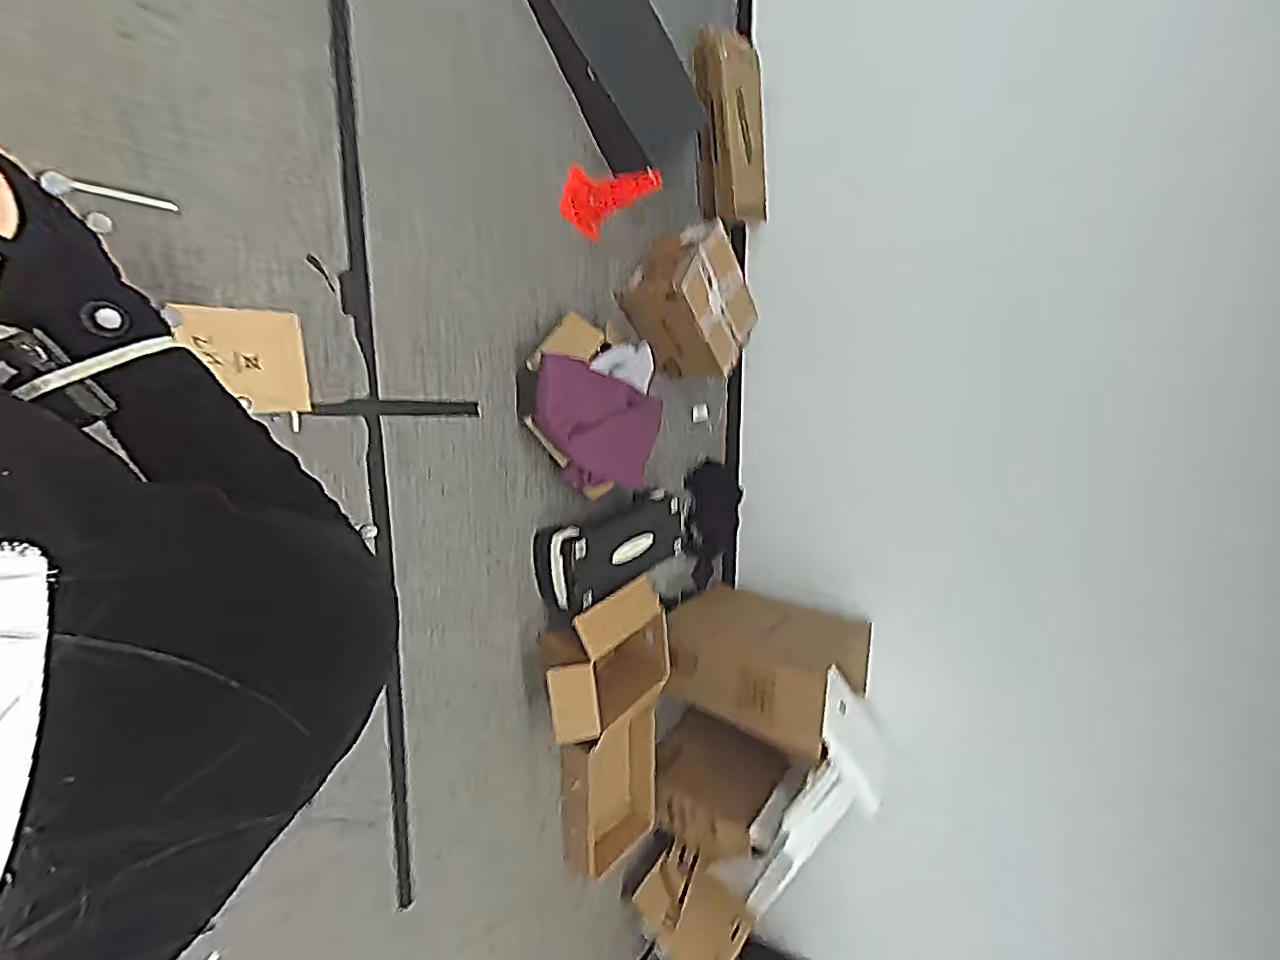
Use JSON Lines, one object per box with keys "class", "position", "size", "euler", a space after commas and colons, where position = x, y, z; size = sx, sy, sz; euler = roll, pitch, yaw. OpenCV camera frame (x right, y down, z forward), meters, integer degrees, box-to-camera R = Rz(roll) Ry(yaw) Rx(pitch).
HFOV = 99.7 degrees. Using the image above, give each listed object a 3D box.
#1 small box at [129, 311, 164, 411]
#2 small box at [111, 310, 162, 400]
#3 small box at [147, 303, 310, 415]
{"class": "small box", "position": [-0.821, -0.220, 1.013], "size": [0.179, 0.176, 0.168], "euler": [-19, 110, -47]}
{"class": "small box", "position": [-0.946, -0.255, 1.115], "size": [0.179, 0.176, 0.168], "euler": [-17, 108, -47]}
{"class": "small box", "position": [-0.691, -0.196, 0.913], "size": [0.179, 0.176, 0.168], "euler": [-12, 104, -49]}
